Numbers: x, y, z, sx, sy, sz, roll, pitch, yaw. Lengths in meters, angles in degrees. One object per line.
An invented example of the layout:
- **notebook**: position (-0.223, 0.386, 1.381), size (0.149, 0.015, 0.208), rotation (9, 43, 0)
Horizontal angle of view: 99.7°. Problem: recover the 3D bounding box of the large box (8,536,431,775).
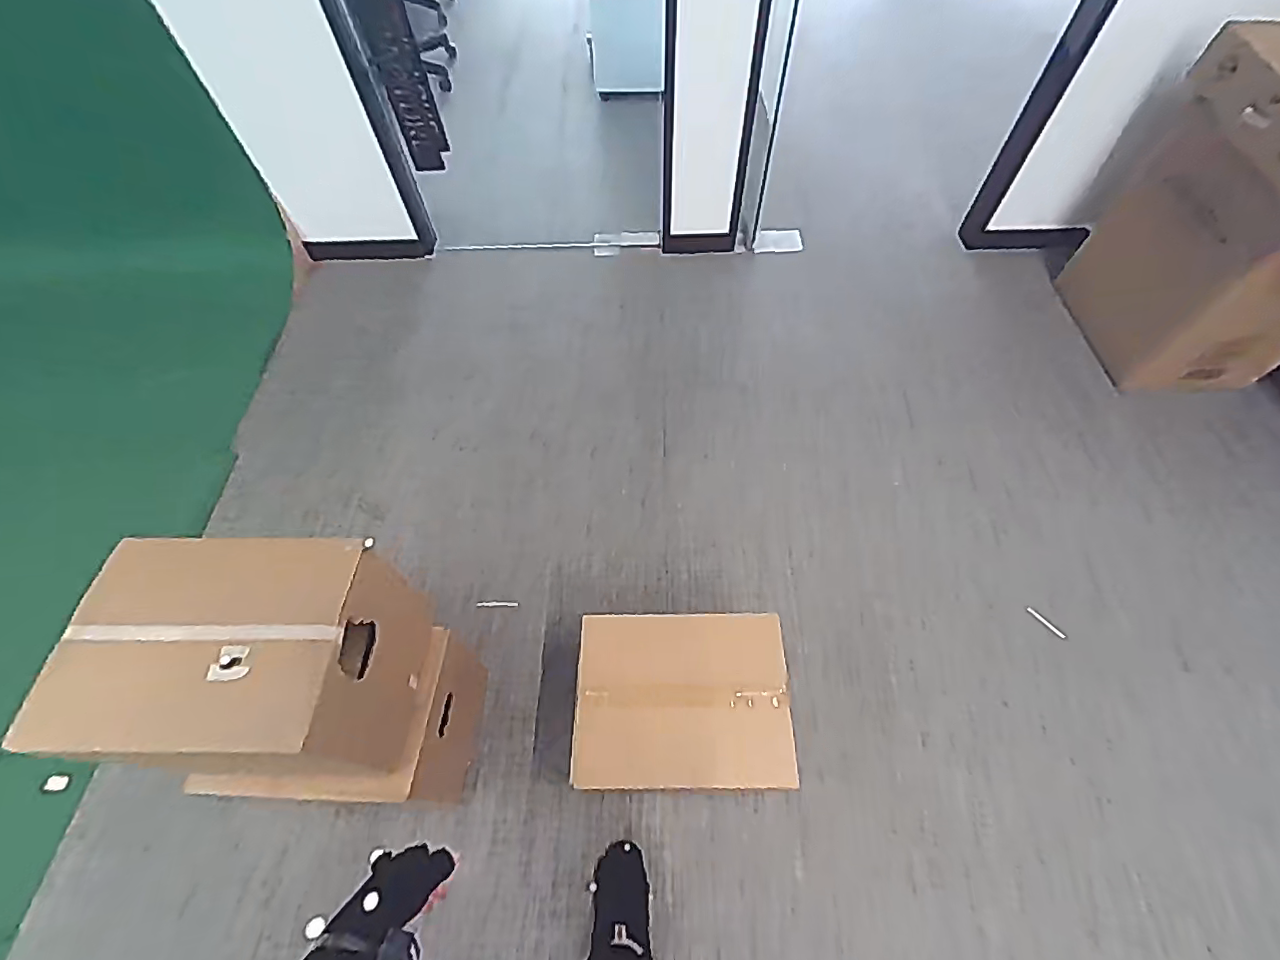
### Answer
- **large box**: position (-0.629, 0.304, 0.912), size (0.408, 0.320, 0.320), rotation (1, 55, 1)
